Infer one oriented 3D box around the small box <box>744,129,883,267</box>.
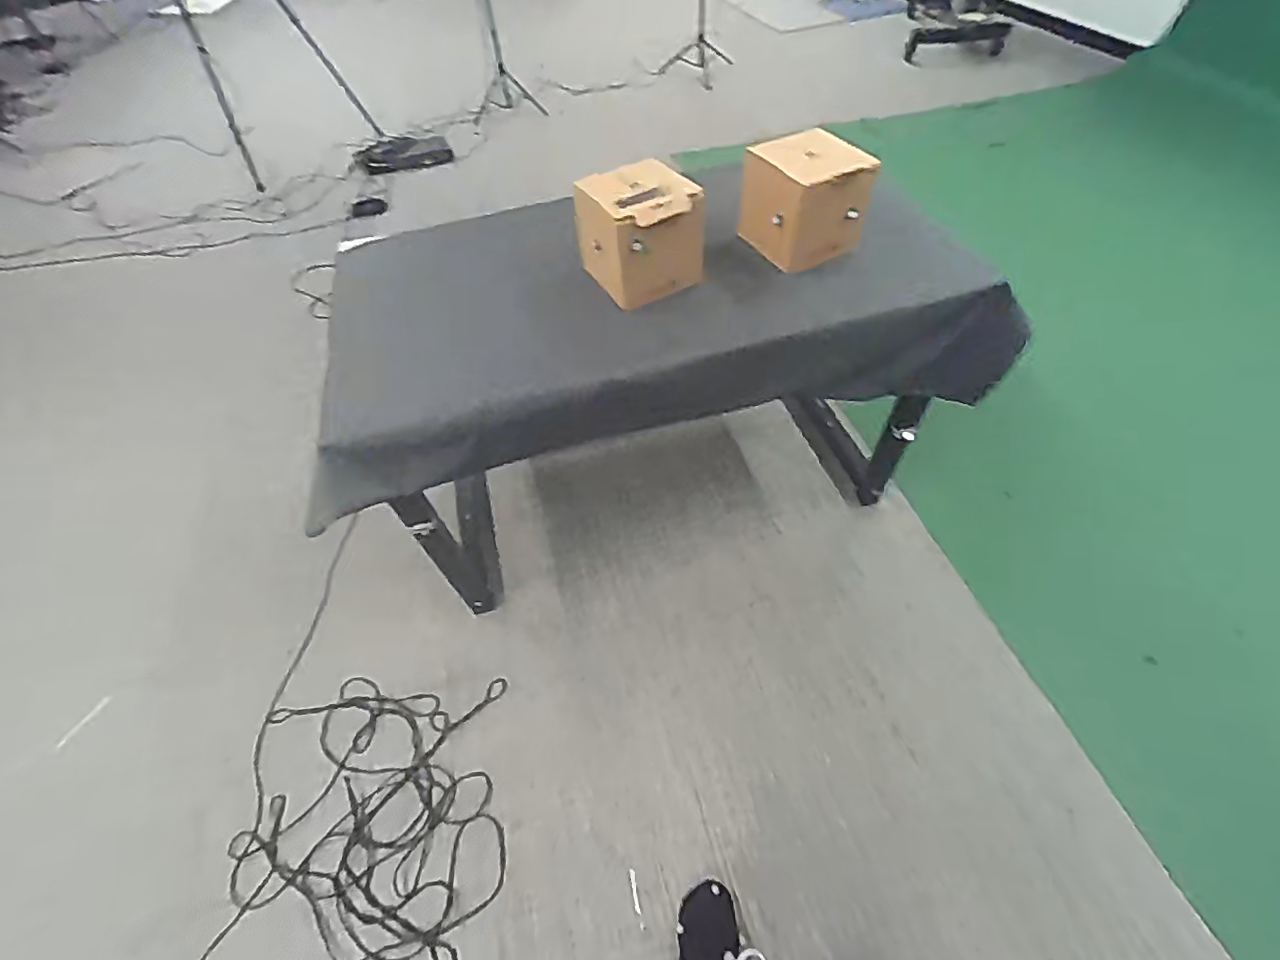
[{"bbox_3d":[0.315,-0.525,1.020,0.168,0.176,0.179,-23,54,-14],"label":"small box"}]
